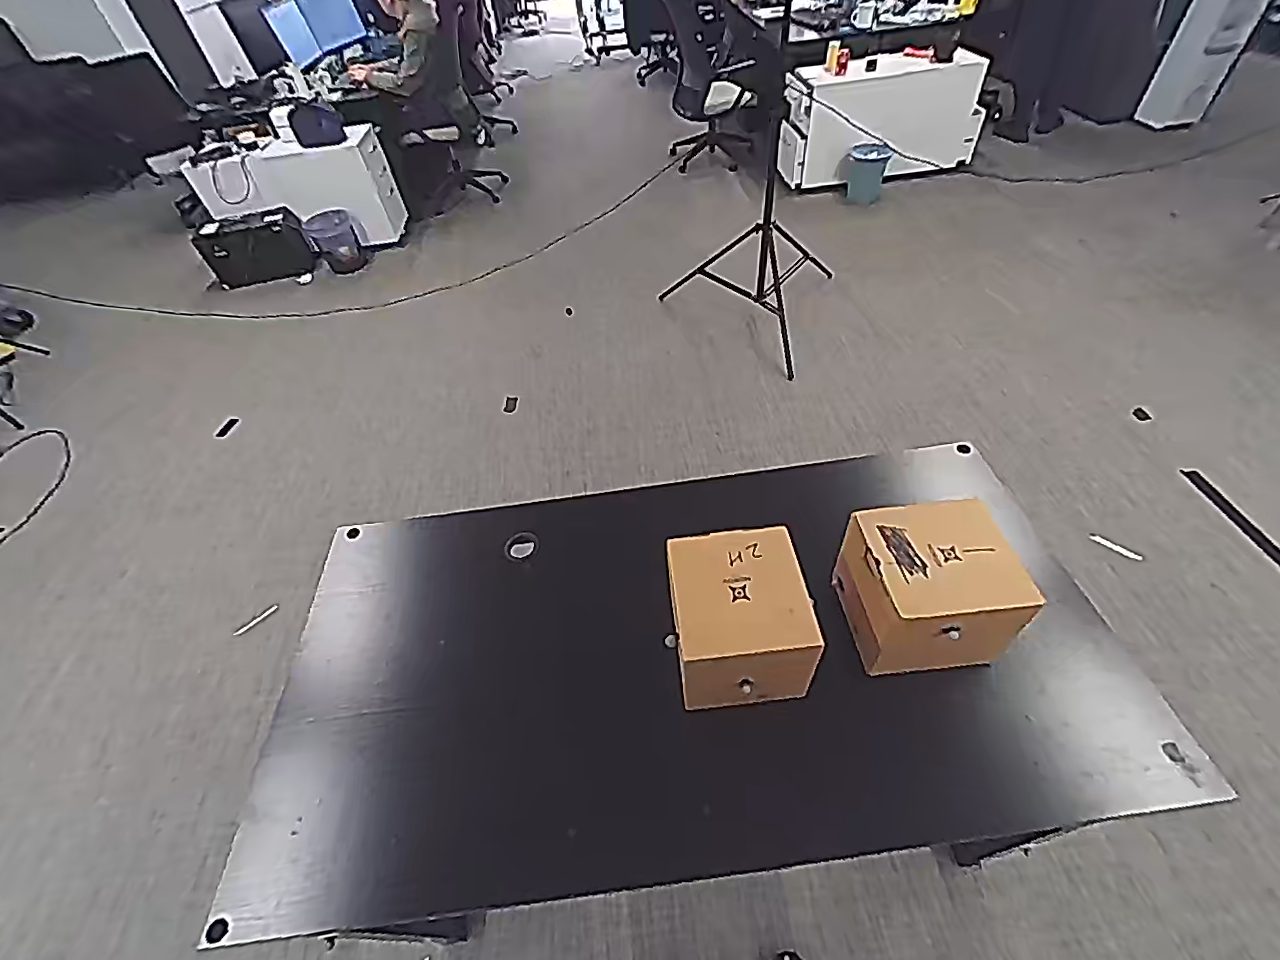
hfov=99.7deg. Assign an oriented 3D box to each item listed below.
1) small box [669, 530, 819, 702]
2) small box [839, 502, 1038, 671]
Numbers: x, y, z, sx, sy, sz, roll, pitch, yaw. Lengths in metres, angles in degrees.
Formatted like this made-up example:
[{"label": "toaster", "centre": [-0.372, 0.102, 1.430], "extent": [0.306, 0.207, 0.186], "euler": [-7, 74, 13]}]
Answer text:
[{"label": "small box", "centre": [0.134, 0.194, 0.750], "extent": [0.168, 0.176, 0.179], "euler": [-6, 48, 1]}, {"label": "small box", "centre": [0.392, 0.153, 0.755], "extent": [0.179, 0.176, 0.168], "euler": [-6, 48, 1]}]
